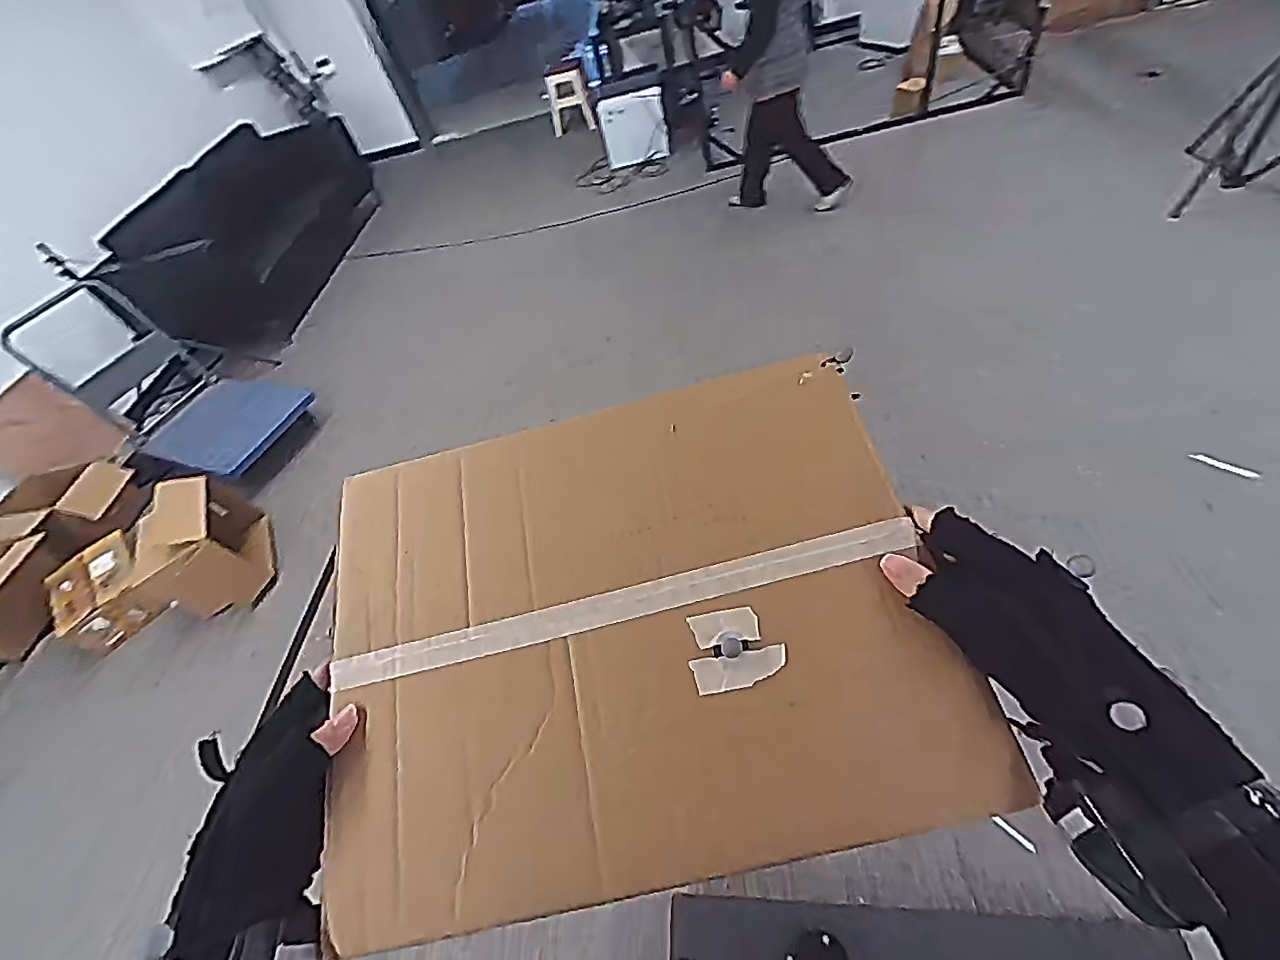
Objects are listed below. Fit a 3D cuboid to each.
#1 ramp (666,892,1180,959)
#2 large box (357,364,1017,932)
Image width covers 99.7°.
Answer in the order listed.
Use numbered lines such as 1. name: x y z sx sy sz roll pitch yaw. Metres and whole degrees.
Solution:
1. ramp: 0.542 1.066 0.964 0.991 0.206 0.509 -7 49 11
2. large box: 0.014 0.150 0.511 0.408 0.320 0.320 -14 64 2
